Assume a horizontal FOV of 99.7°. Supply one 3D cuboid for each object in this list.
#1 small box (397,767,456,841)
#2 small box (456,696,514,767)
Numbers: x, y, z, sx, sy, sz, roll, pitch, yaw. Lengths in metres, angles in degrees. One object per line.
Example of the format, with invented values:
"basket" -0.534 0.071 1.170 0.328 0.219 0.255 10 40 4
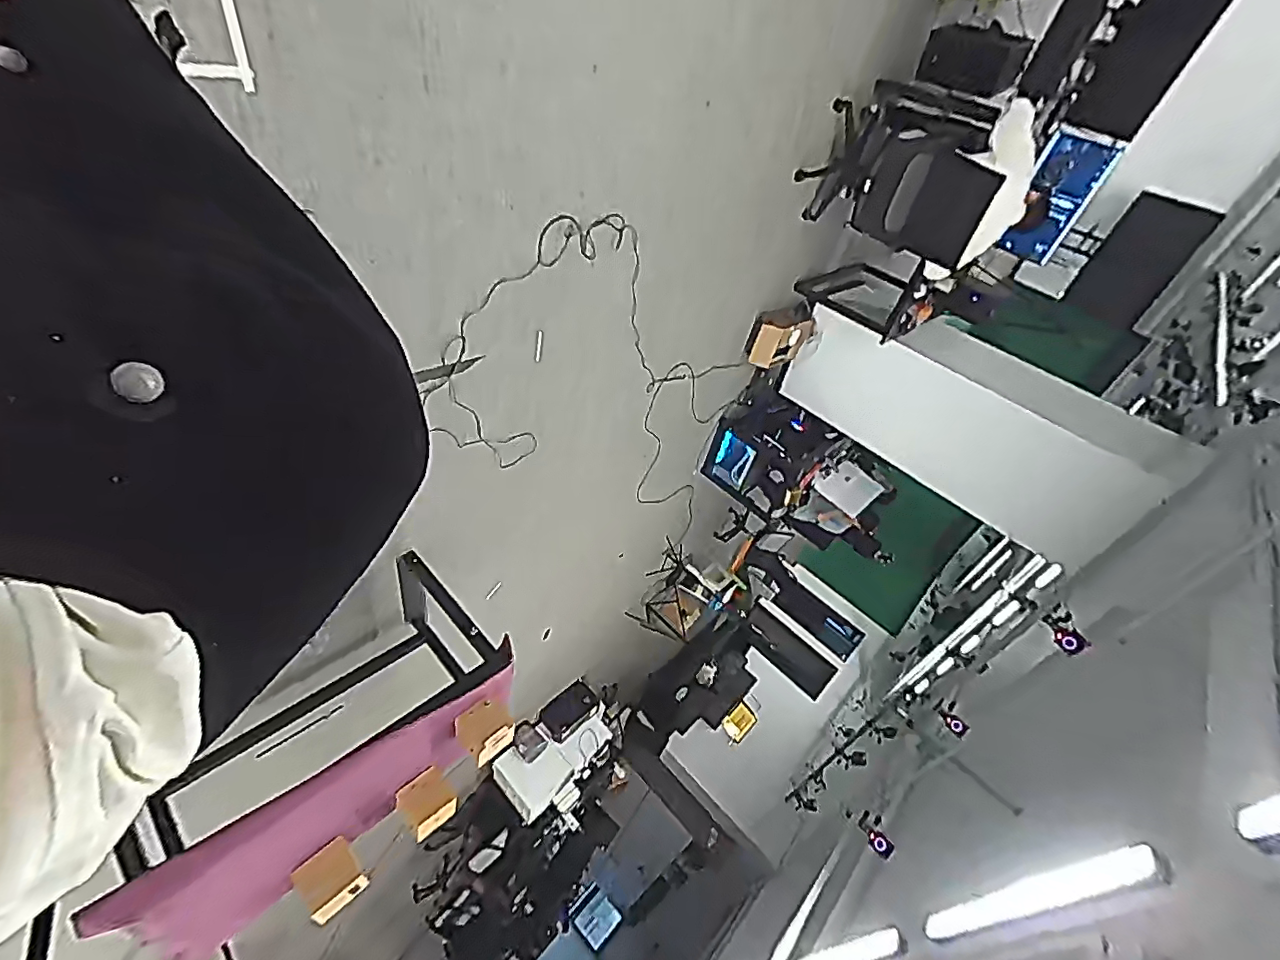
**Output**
"small box" -0.868 1.309 2.190 0.168 0.176 0.179 -26 146 -41
"small box" -0.627 1.004 2.175 0.168 0.176 0.179 -29 149 -38
